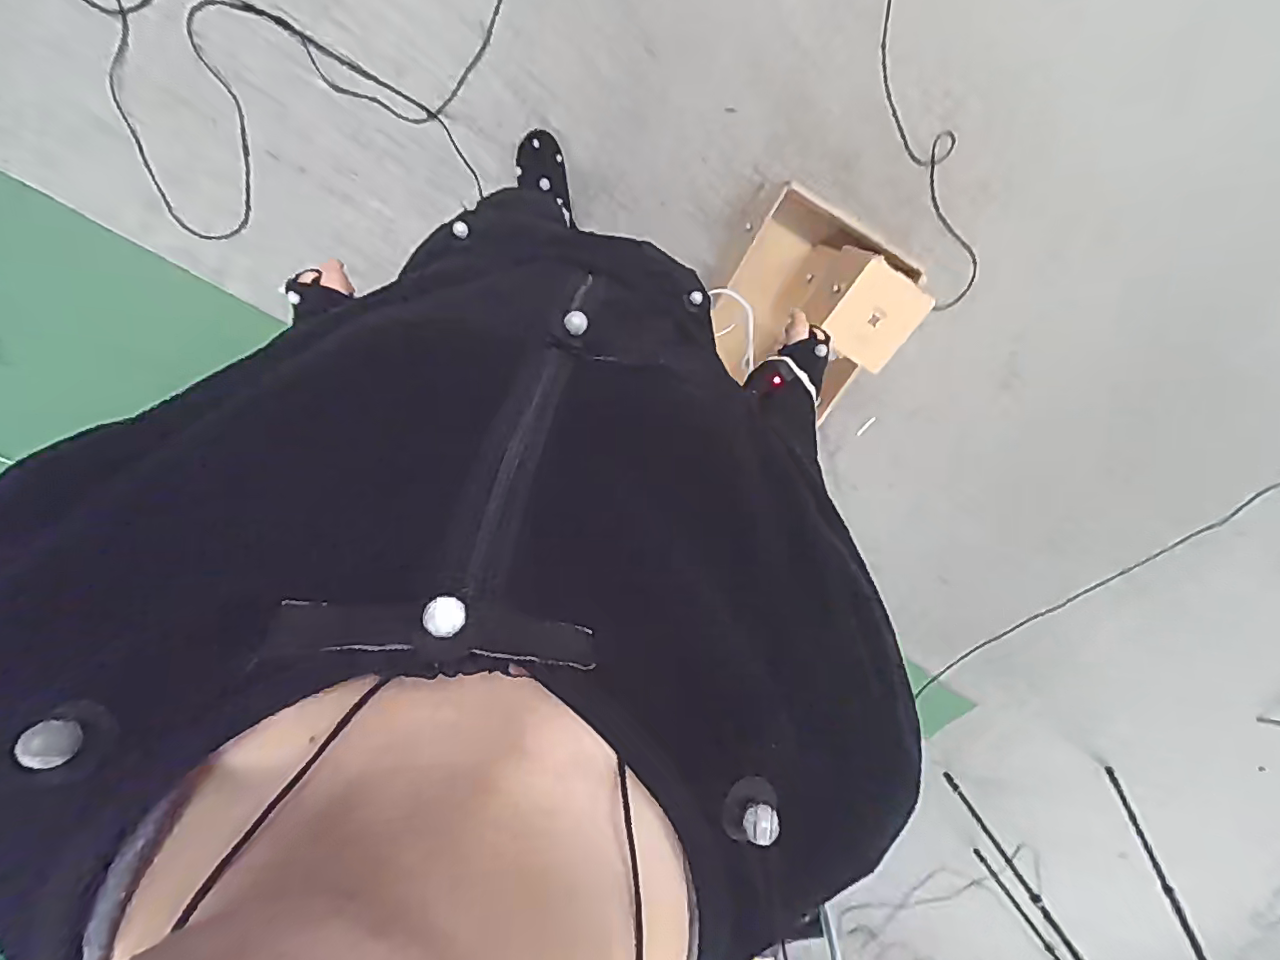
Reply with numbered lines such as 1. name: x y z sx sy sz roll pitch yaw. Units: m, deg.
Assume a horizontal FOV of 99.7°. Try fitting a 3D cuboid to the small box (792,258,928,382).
1. small box: 0.448 -0.342 1.136 0.168 0.176 0.179 28 114 -16
